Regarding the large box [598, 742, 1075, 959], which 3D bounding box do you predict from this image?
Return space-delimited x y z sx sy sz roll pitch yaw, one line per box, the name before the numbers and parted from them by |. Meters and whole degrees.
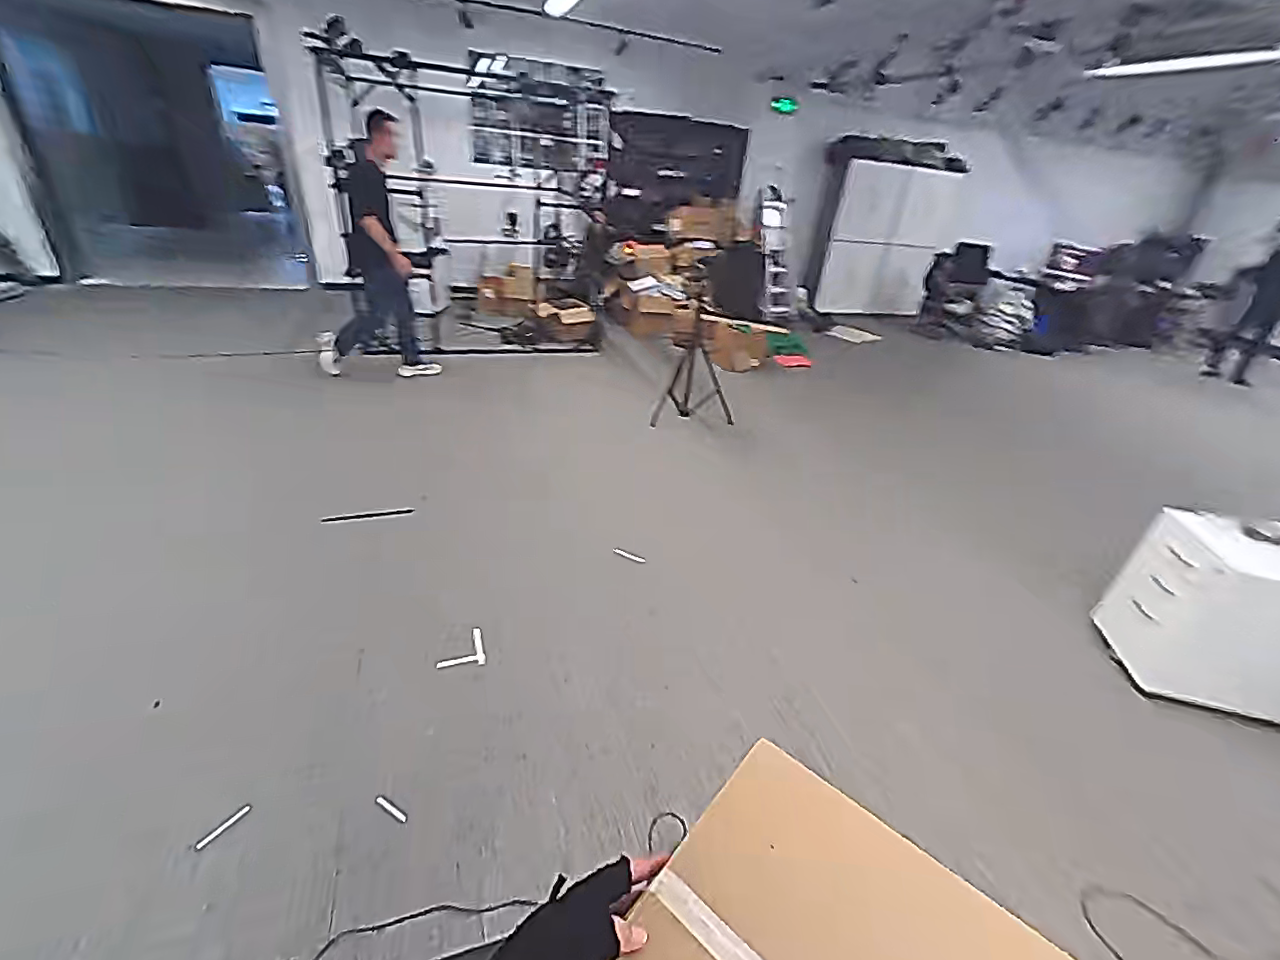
large box | 0.163 0.509 0.407 0.408 0.320 0.320 26 42 33
